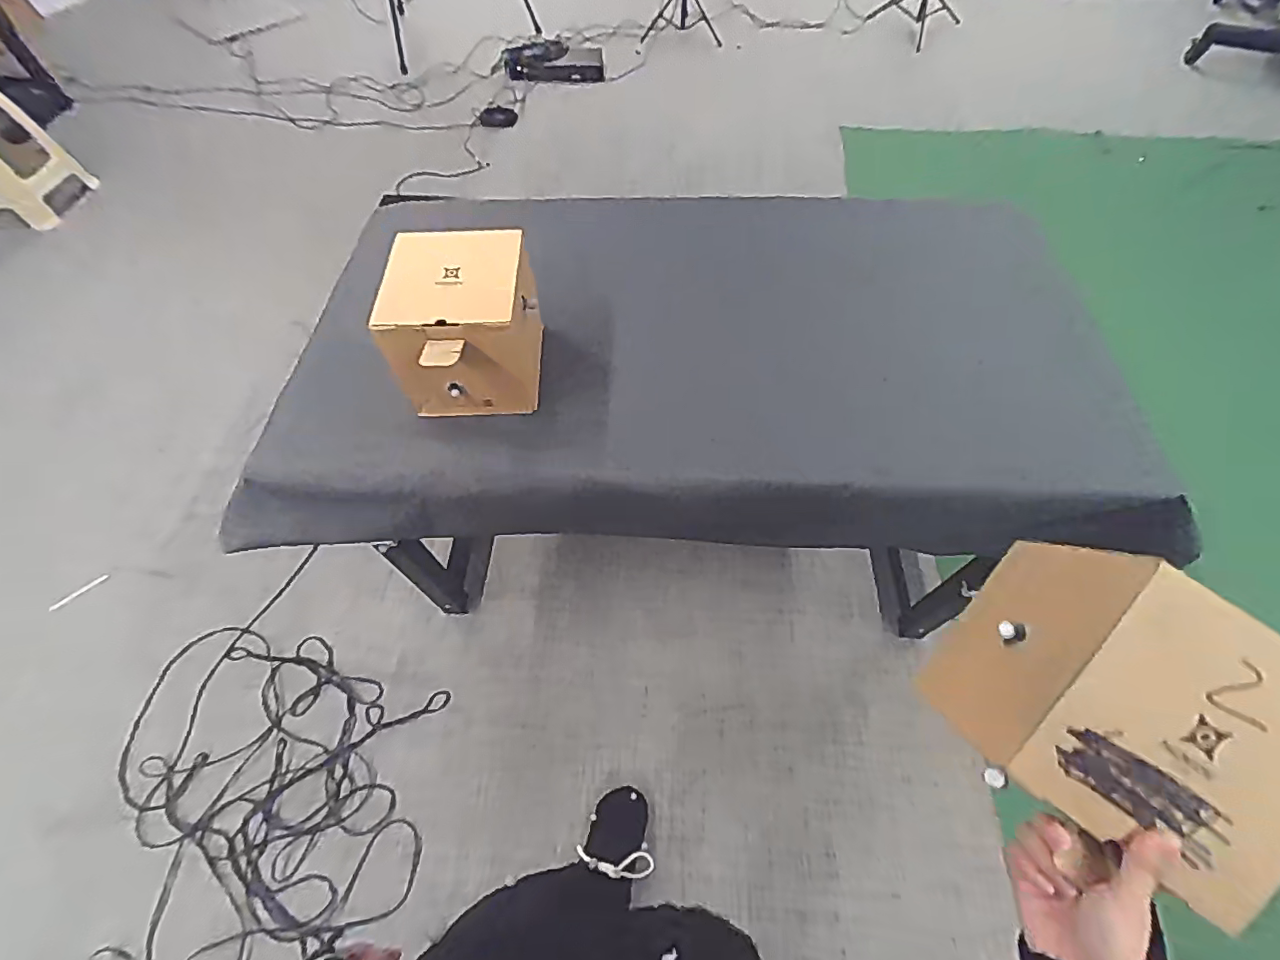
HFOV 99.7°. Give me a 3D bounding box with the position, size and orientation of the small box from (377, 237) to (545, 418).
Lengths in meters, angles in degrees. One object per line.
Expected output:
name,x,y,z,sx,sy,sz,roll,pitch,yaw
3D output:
small box,-0.225,-0.203,0.734,0.168,0.176,0.179,-2,59,-1
